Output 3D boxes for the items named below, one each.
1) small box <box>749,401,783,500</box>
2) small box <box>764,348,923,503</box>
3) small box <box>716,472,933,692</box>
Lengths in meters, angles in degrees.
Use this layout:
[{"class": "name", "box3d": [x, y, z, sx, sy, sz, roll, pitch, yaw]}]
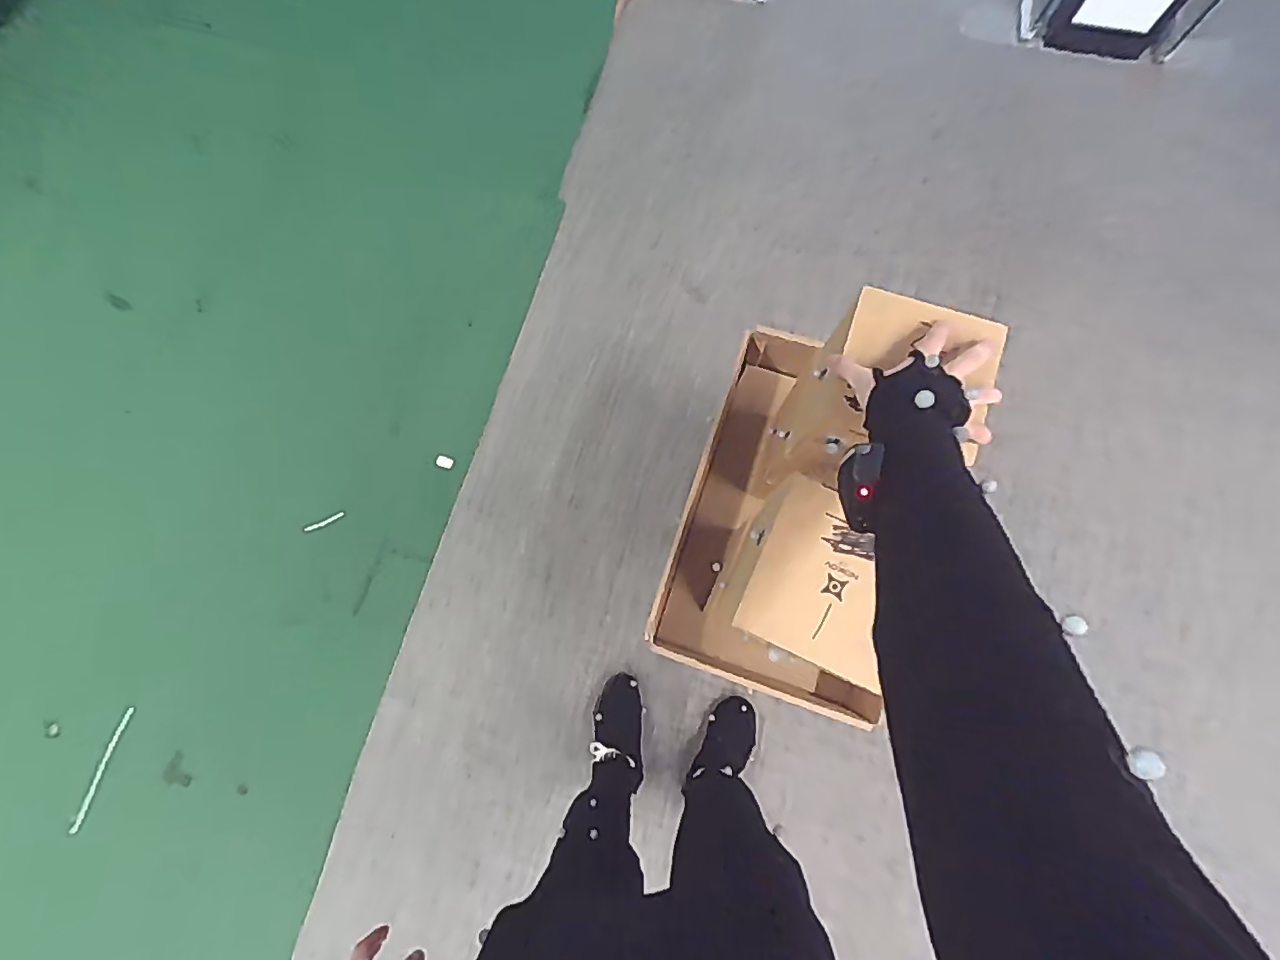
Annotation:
[{"class": "small box", "box3d": [0.311, -0.044, 1.002, 0.168, 0.176, 0.179, 18, 80, 6]}, {"class": "small box", "box3d": [0.304, -0.074, 0.843, 0.168, 0.176, 0.179, 18, 81, 5]}, {"class": "small box", "box3d": [0.199, 0.116, 0.635, 0.168, 0.176, 0.179, 25, 80, 7]}]
